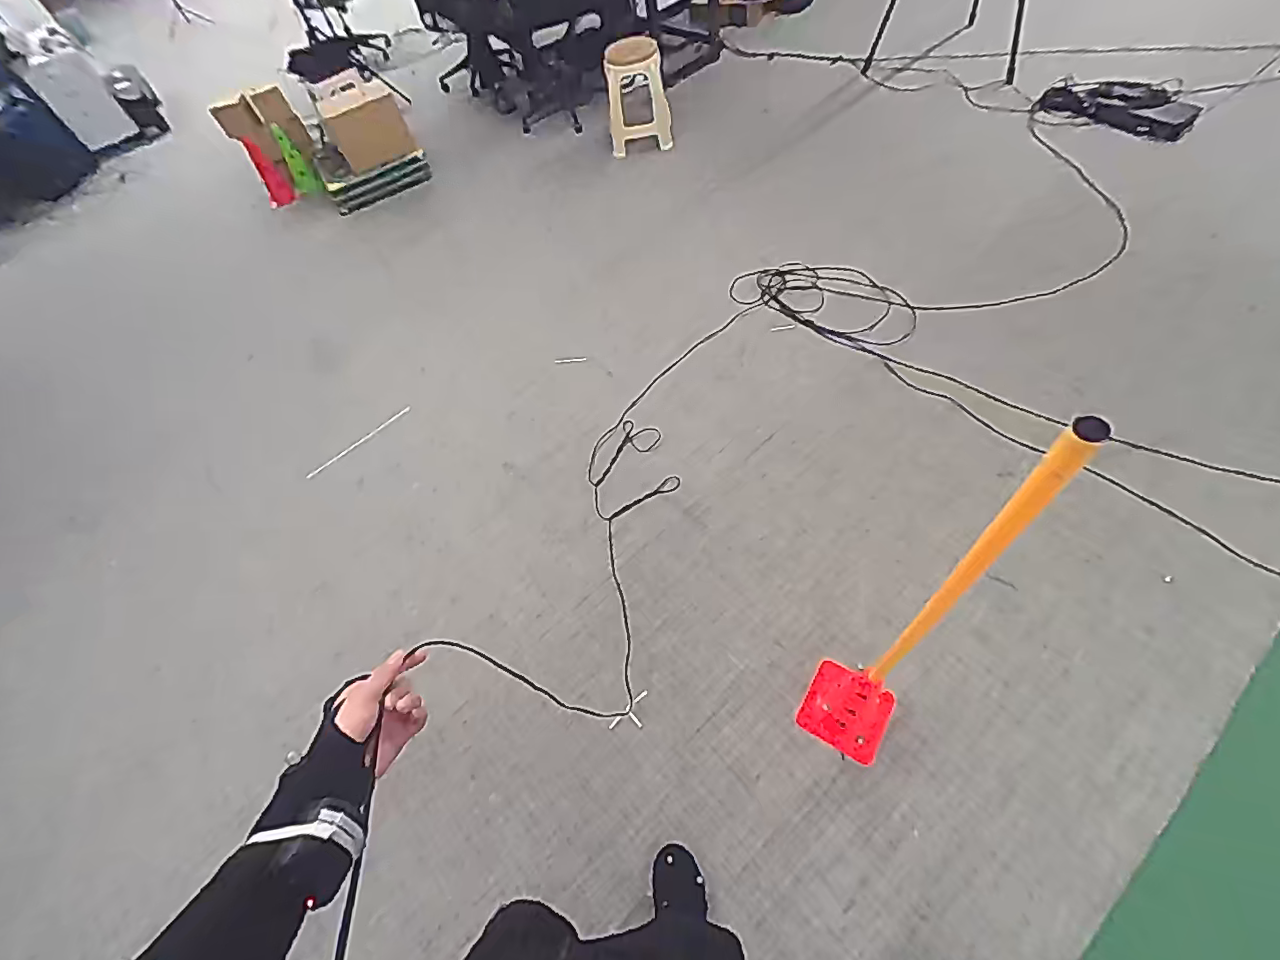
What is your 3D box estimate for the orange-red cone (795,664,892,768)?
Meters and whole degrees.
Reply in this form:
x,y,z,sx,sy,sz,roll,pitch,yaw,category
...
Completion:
x,y,z,sx,sy,sz,roll,pitch,yaw,category
0.503,0.504,1.248,0.198,0.360,0.199,27,63,23,orange-red cone
